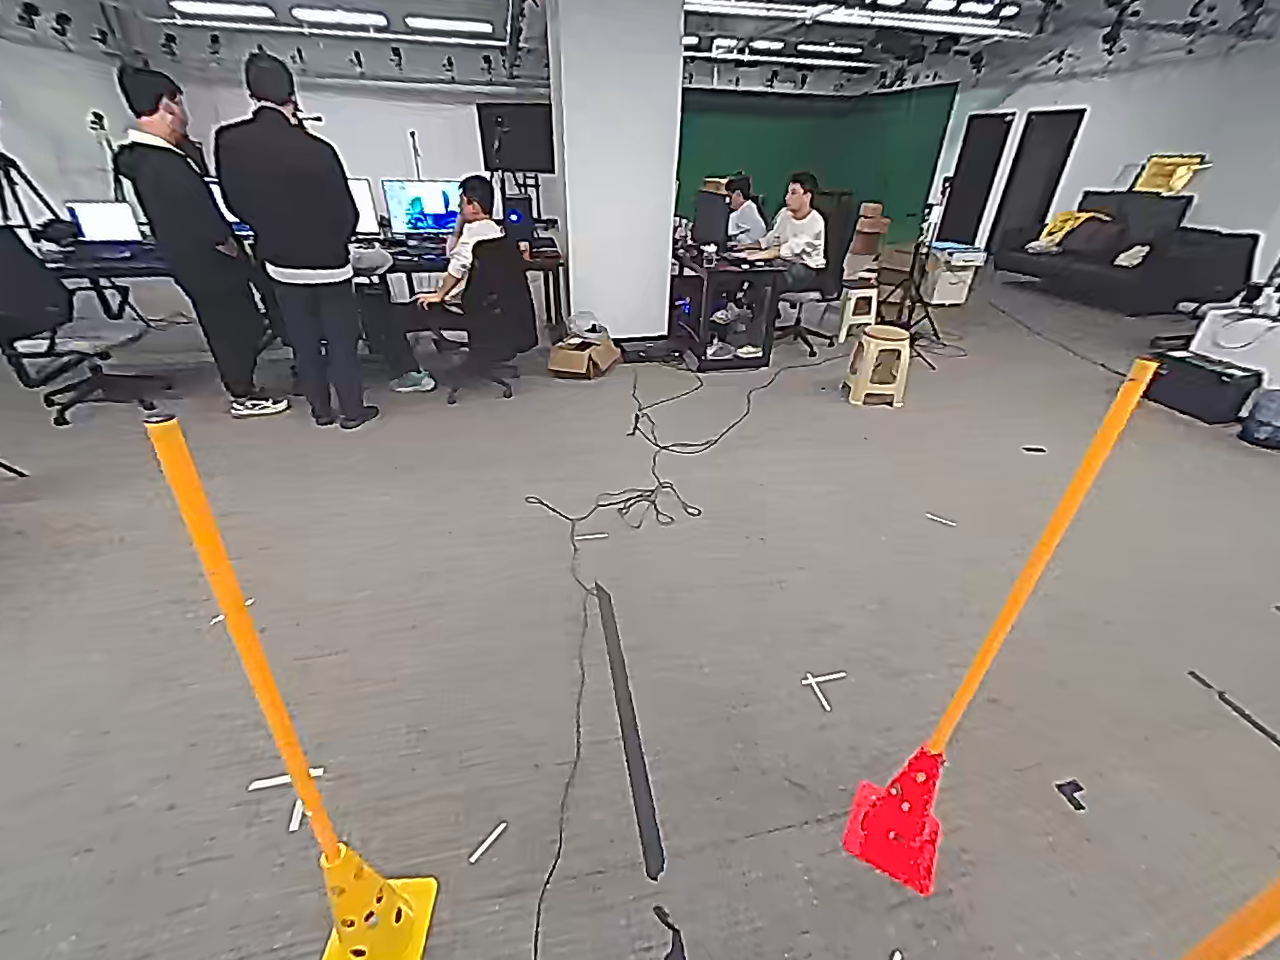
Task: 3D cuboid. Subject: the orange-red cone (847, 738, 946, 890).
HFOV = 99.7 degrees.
[{"bbox_3d":[0.625,0.711,1.228,0.198,0.360,0.199,19,37,29],"label":"orange-red cone"}]
